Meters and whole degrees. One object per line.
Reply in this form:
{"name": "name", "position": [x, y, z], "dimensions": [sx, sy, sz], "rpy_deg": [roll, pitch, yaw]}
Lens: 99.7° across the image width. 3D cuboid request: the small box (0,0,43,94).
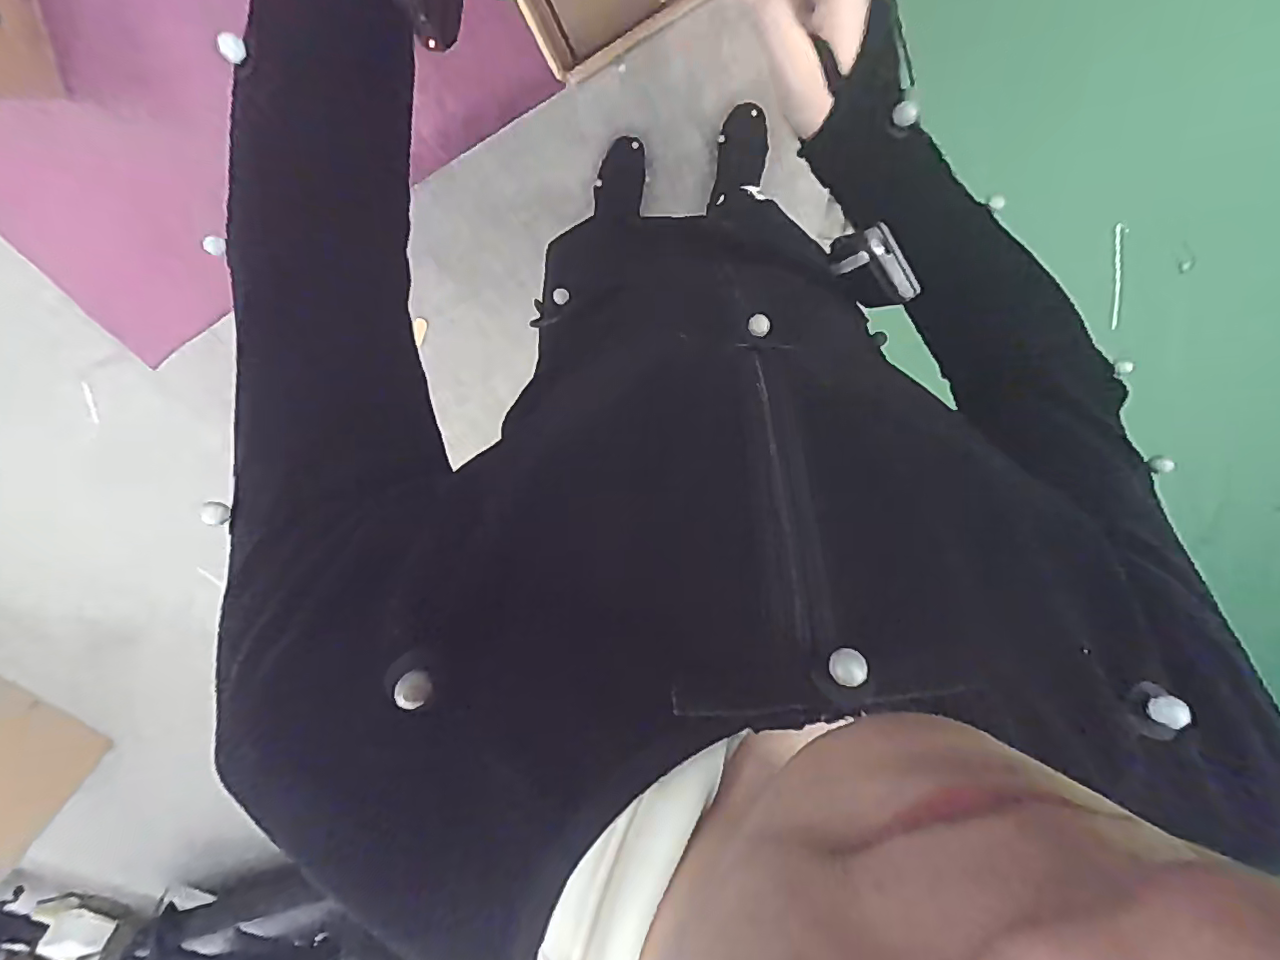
{"name": "small box", "position": [-0.732, -0.479, 0.504], "dimensions": [0.179, 0.176, 0.168], "rpy_deg": [11, 124, -10]}
